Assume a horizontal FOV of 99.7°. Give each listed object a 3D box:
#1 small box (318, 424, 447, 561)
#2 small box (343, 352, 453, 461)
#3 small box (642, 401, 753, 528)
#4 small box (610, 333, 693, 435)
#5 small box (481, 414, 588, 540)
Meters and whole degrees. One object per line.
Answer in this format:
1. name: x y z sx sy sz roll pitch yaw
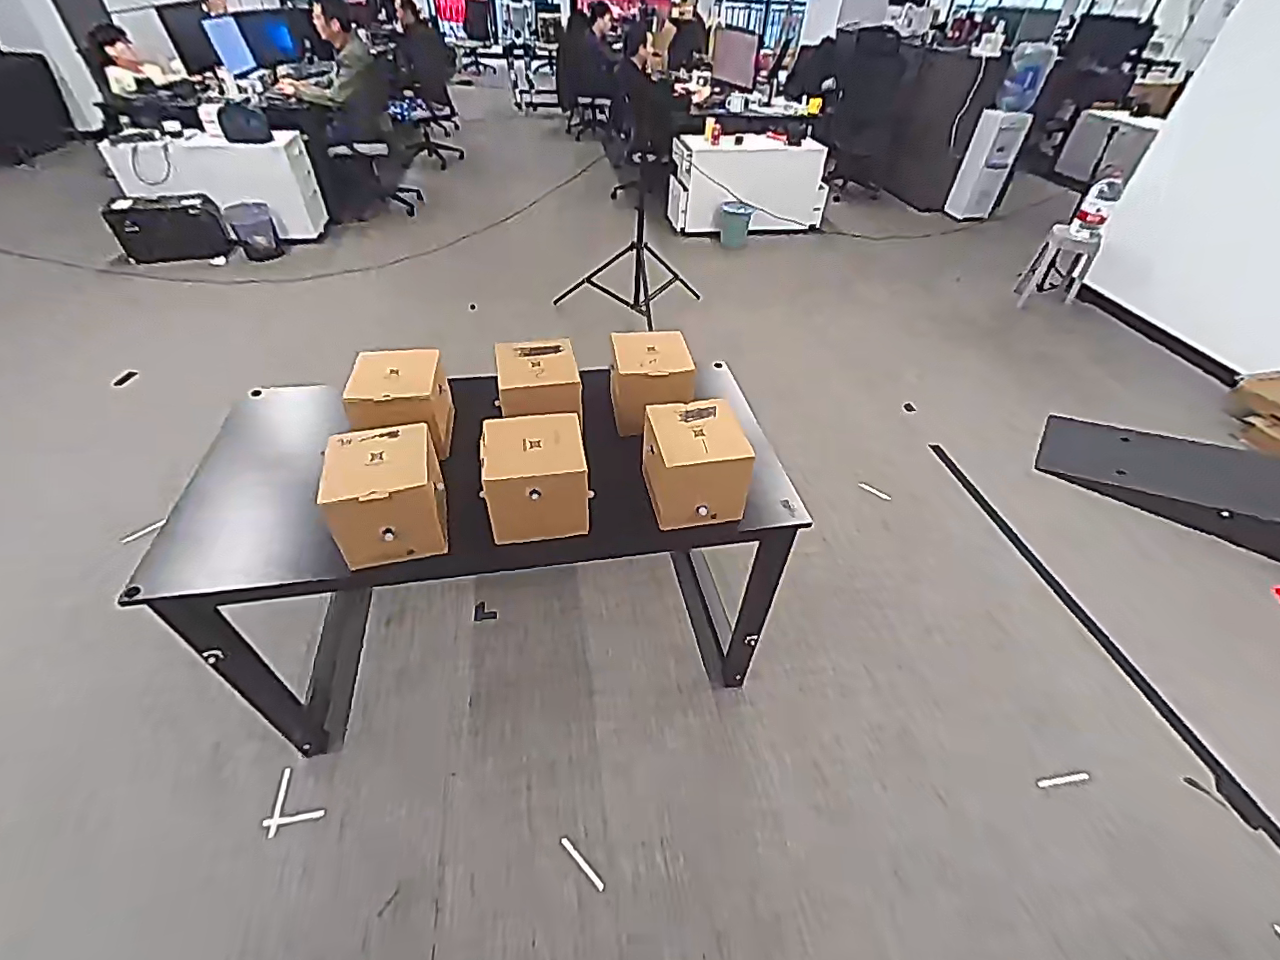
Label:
1. small box: -0.446 0.027 0.963 0.168 0.176 0.179 -10 45 -13
2. small box: -0.503 -0.155 1.155 0.168 0.176 0.179 -5 44 -8
3. small box: 0.101 -0.031 1.054 0.168 0.176 0.179 -7 44 -10
4. small box: 0.020 -0.224 1.255 0.168 0.176 0.179 -5 44 -7
5. small box: -0.195 -0.003 1.012 0.179 0.176 0.168 -6 45 -10
